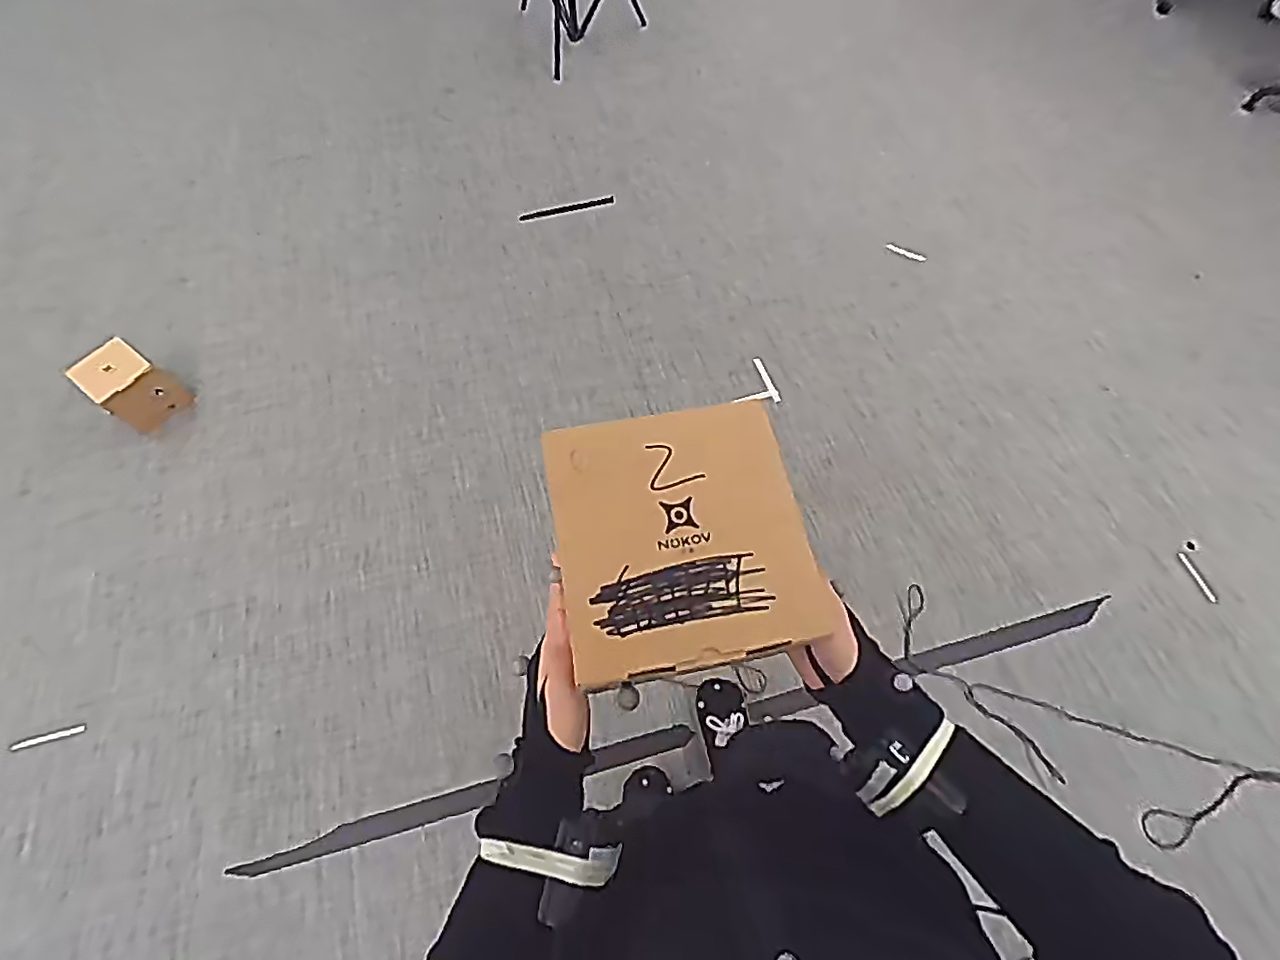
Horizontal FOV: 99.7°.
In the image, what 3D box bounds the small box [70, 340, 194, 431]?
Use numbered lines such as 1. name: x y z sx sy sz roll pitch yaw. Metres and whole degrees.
1. small box: -1.487 -0.269 1.597 0.179 0.176 0.168 34 68 15
